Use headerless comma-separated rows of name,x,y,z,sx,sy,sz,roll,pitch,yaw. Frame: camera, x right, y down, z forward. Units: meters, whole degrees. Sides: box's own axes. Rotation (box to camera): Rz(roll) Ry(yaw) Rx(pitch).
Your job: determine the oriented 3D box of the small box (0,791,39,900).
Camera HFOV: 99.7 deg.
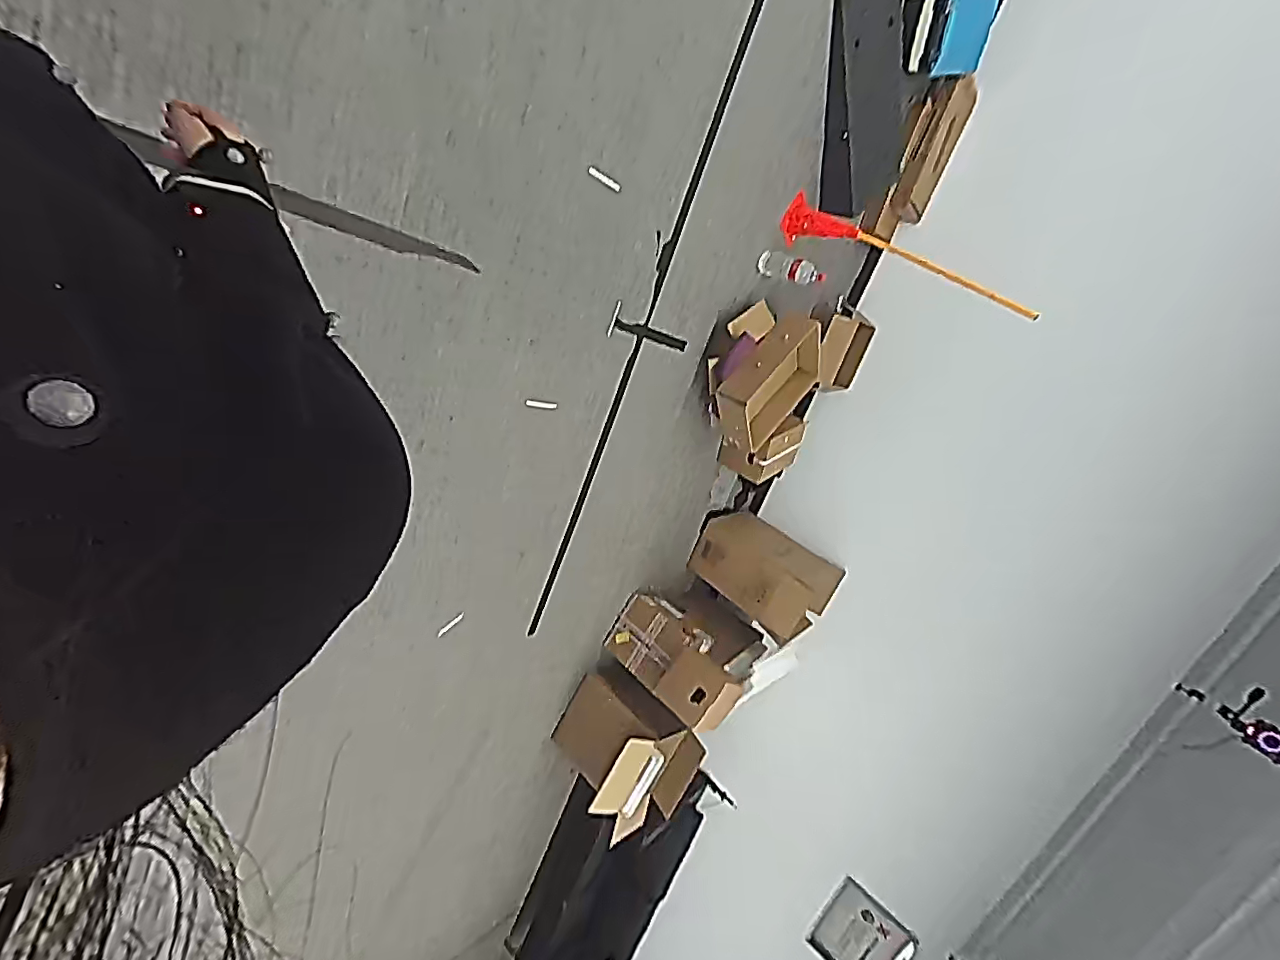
small box,-1.569,0.890,1.280,0.168,0.176,0.179,-15,128,-49
